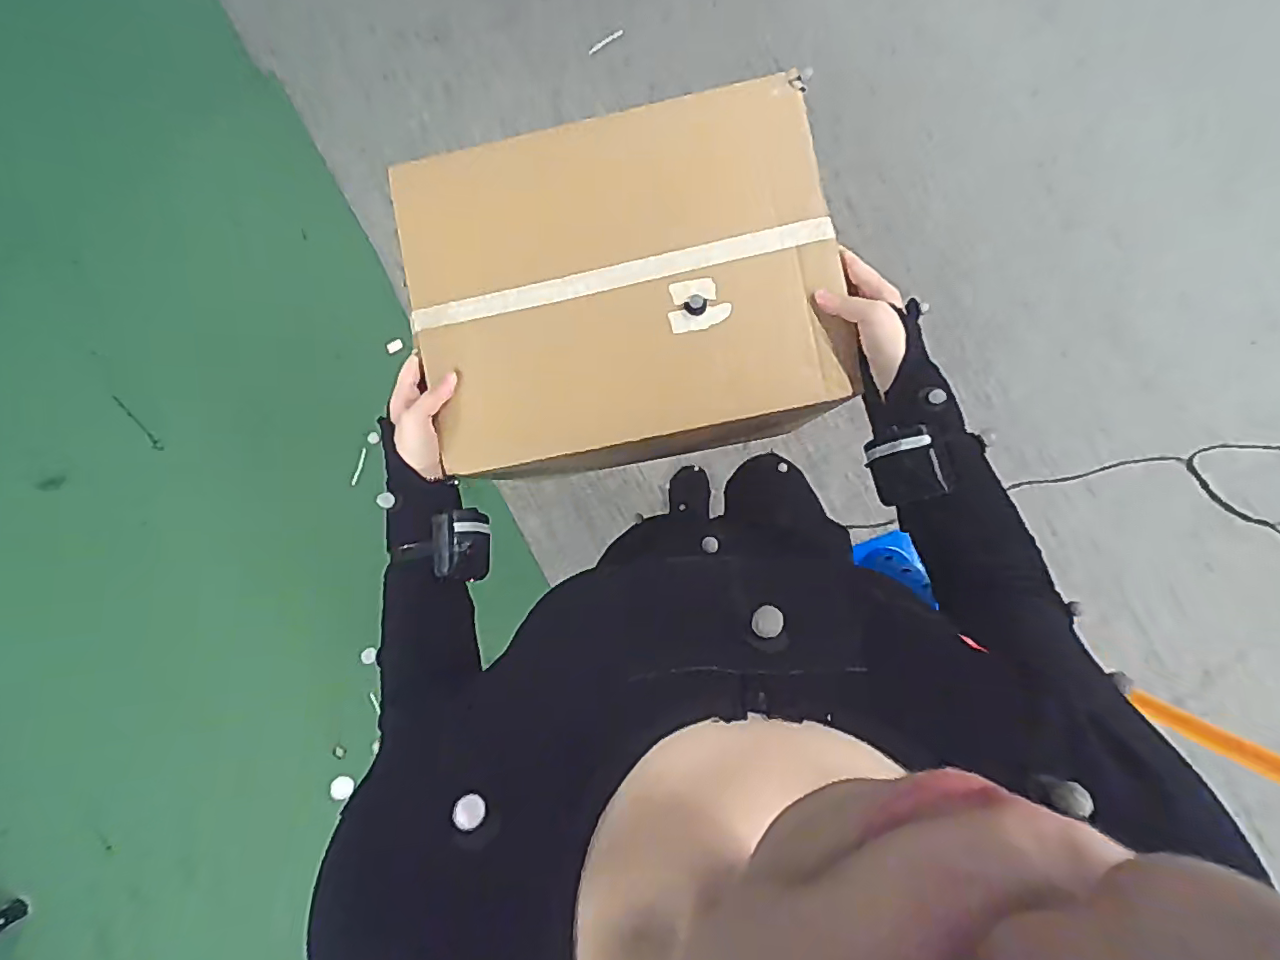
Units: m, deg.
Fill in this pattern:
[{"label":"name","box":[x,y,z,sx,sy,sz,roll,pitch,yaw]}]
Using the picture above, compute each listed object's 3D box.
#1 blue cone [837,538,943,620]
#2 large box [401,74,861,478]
[{"label":"blue cone","box":[0.631,0.264,1.289,0.192,0.380,0.193,-21,88,6]},{"label":"large box","box":[-0.010,-0.196,0.667,0.408,0.320,0.320,-11,88,2]}]
